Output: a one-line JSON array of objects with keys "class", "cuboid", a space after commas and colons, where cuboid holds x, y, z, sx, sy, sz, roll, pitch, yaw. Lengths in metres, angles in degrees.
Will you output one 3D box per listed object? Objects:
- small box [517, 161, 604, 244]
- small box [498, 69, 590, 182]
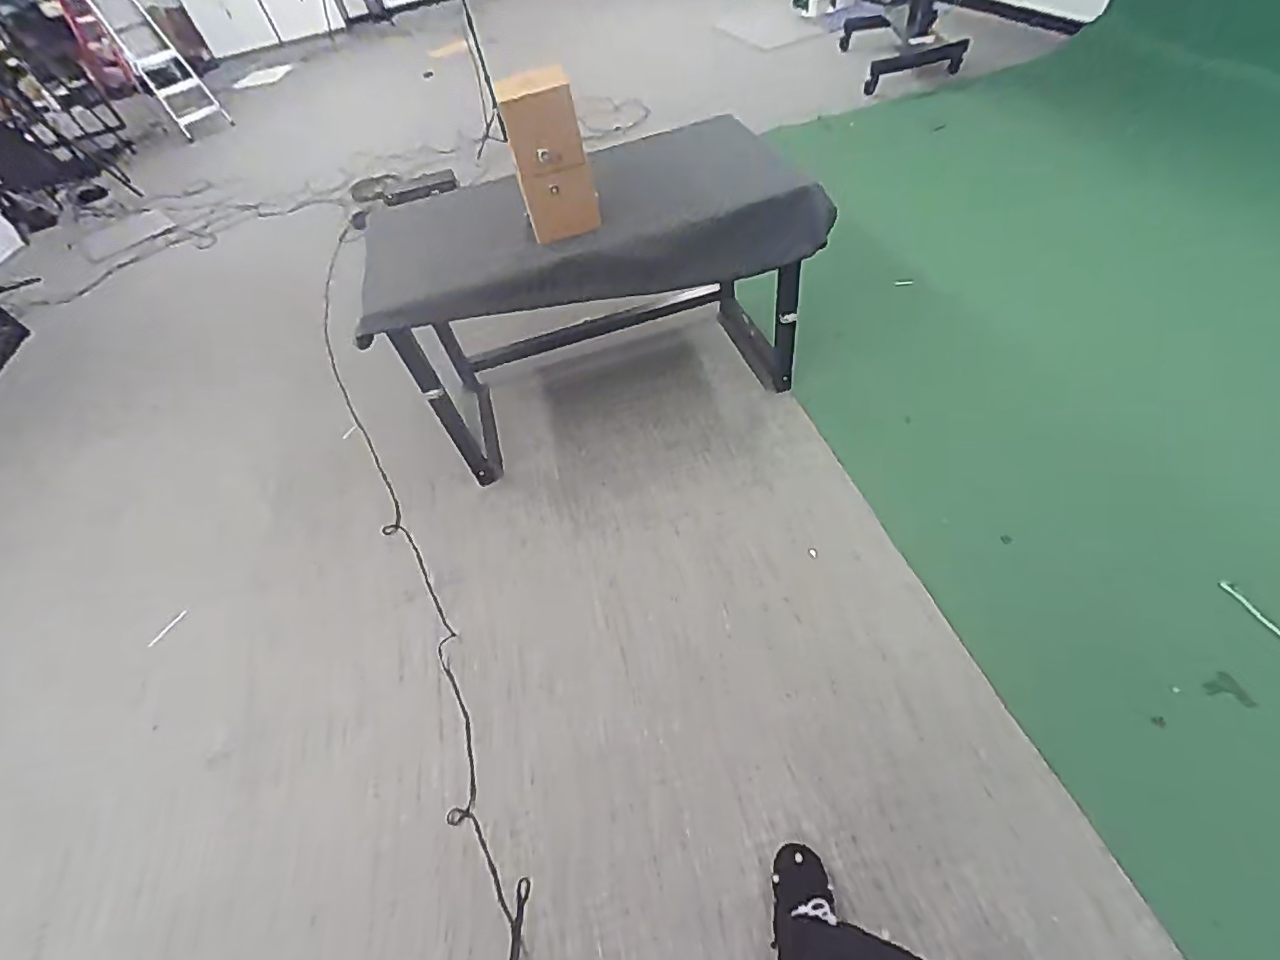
[{"class": "small box", "cuboid": [-0.207, -0.750, 1.429, 0.179, 0.176, 0.168, -18, 51, -4]}, {"class": "small box", "cuboid": [-0.230, -0.853, 1.306, 0.168, 0.176, 0.179, -18, 52, -2]}]
